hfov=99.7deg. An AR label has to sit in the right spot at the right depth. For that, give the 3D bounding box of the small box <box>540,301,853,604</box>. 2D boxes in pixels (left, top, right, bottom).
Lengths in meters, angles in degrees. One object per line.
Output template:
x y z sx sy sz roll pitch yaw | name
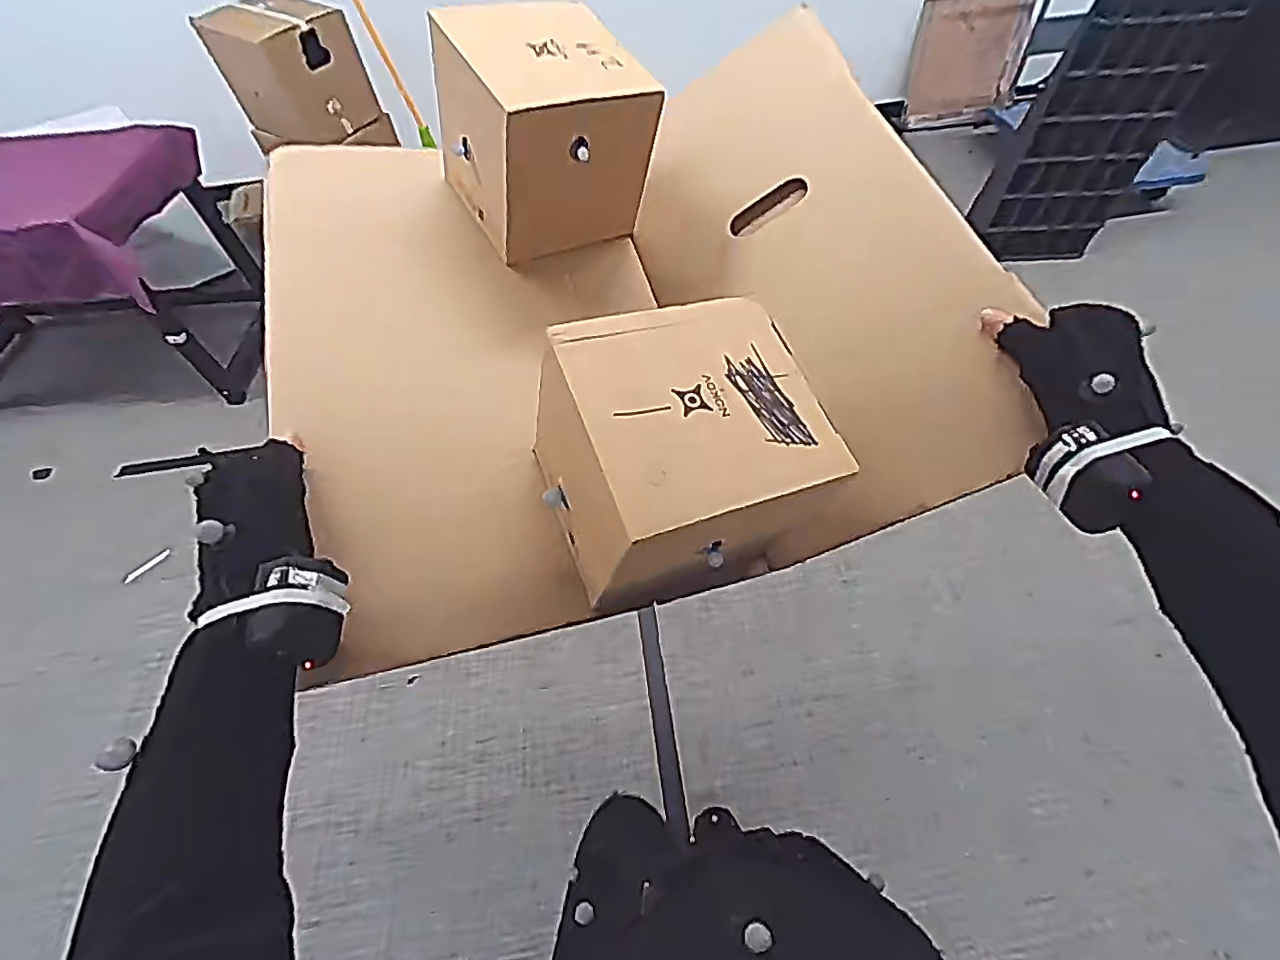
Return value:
0.026 -0.016 0.443 0.179 0.176 0.168 -16 68 -19 | small box

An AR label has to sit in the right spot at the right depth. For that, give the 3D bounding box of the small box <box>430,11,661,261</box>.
-0.106 -0.371 0.597 0.179 0.176 0.168 -26 72 -24 | small box
